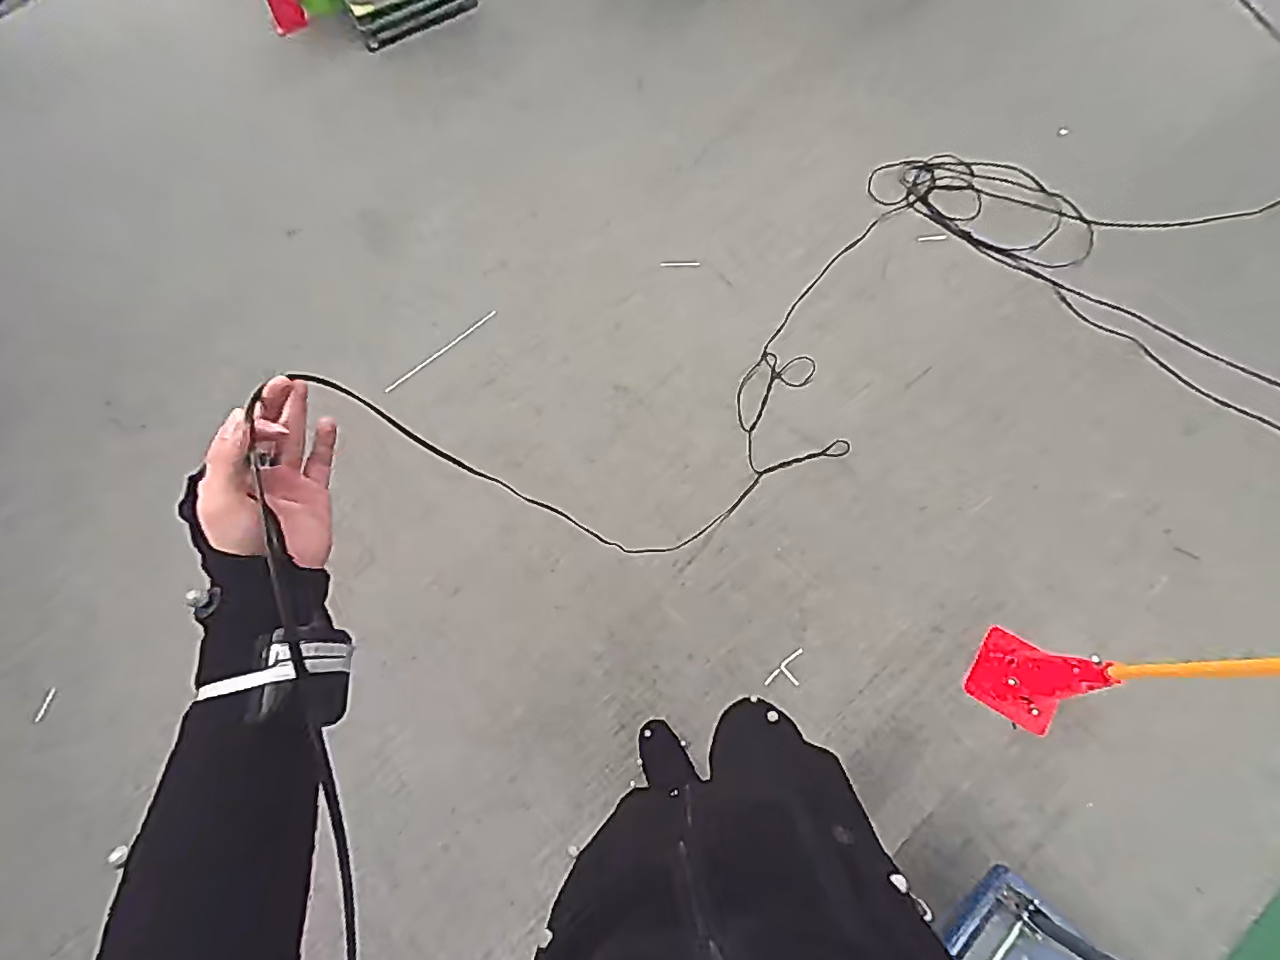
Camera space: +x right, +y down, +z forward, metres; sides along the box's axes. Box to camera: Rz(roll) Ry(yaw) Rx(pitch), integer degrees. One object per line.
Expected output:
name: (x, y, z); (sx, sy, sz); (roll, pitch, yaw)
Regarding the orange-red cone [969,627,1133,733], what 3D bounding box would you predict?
orange-red cone: (0.930, 0.427, 1.187); (0.198, 0.360, 0.199); (32, 74, 17)
